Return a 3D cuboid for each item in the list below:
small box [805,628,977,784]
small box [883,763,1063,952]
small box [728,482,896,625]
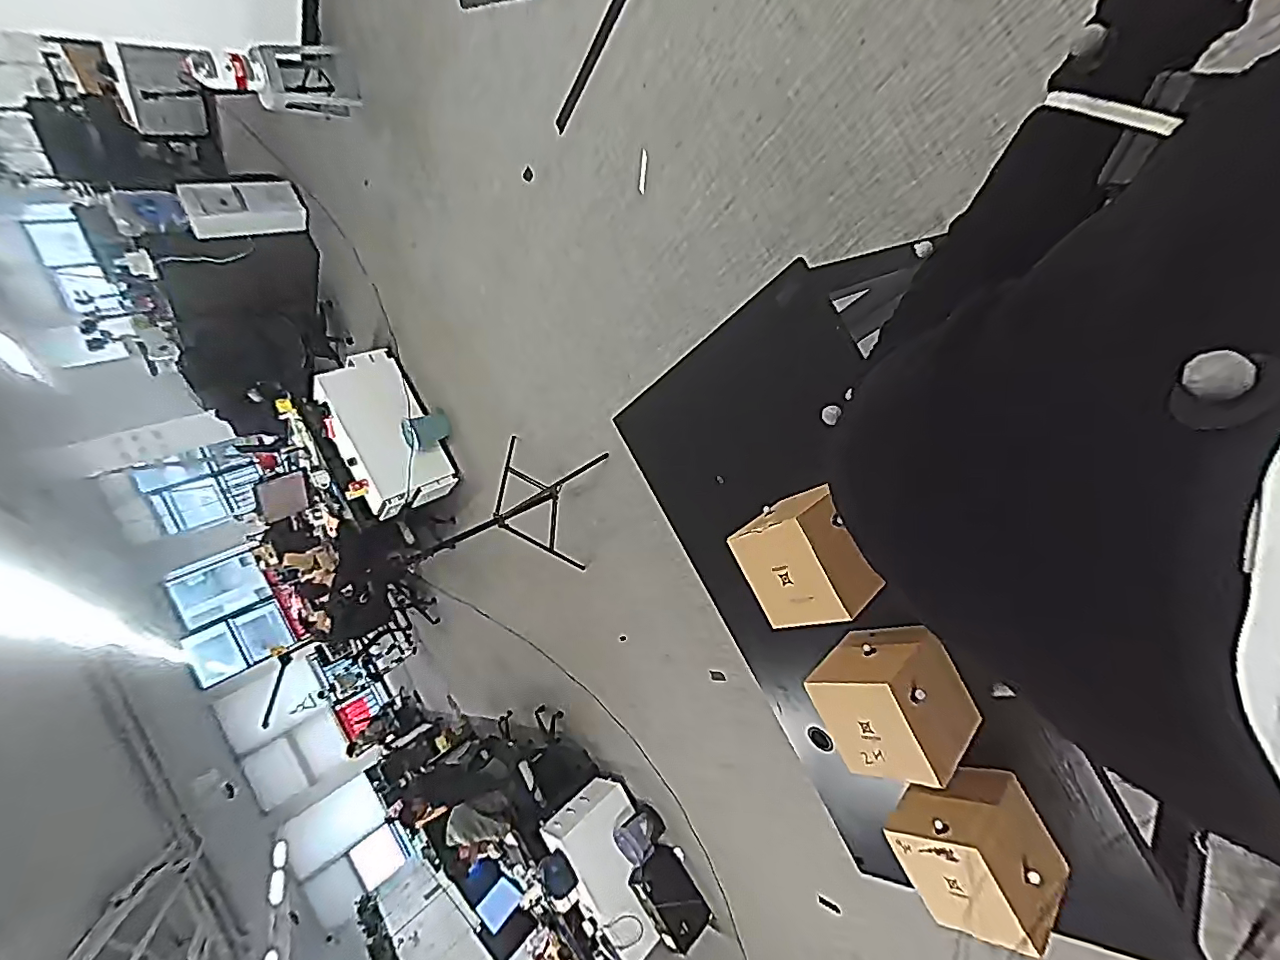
[{"bbox_3d":[0.417,0.361,0.900,0.168,0.176,0.179,-29,88,54],"label":"small box"},{"bbox_3d":[0.549,0.600,0.890,0.179,0.176,0.168,60,144,4],"label":"small box"},{"bbox_3d":[0.289,0.118,0.909,0.168,0.176,0.179,-31,88,55],"label":"small box"}]
